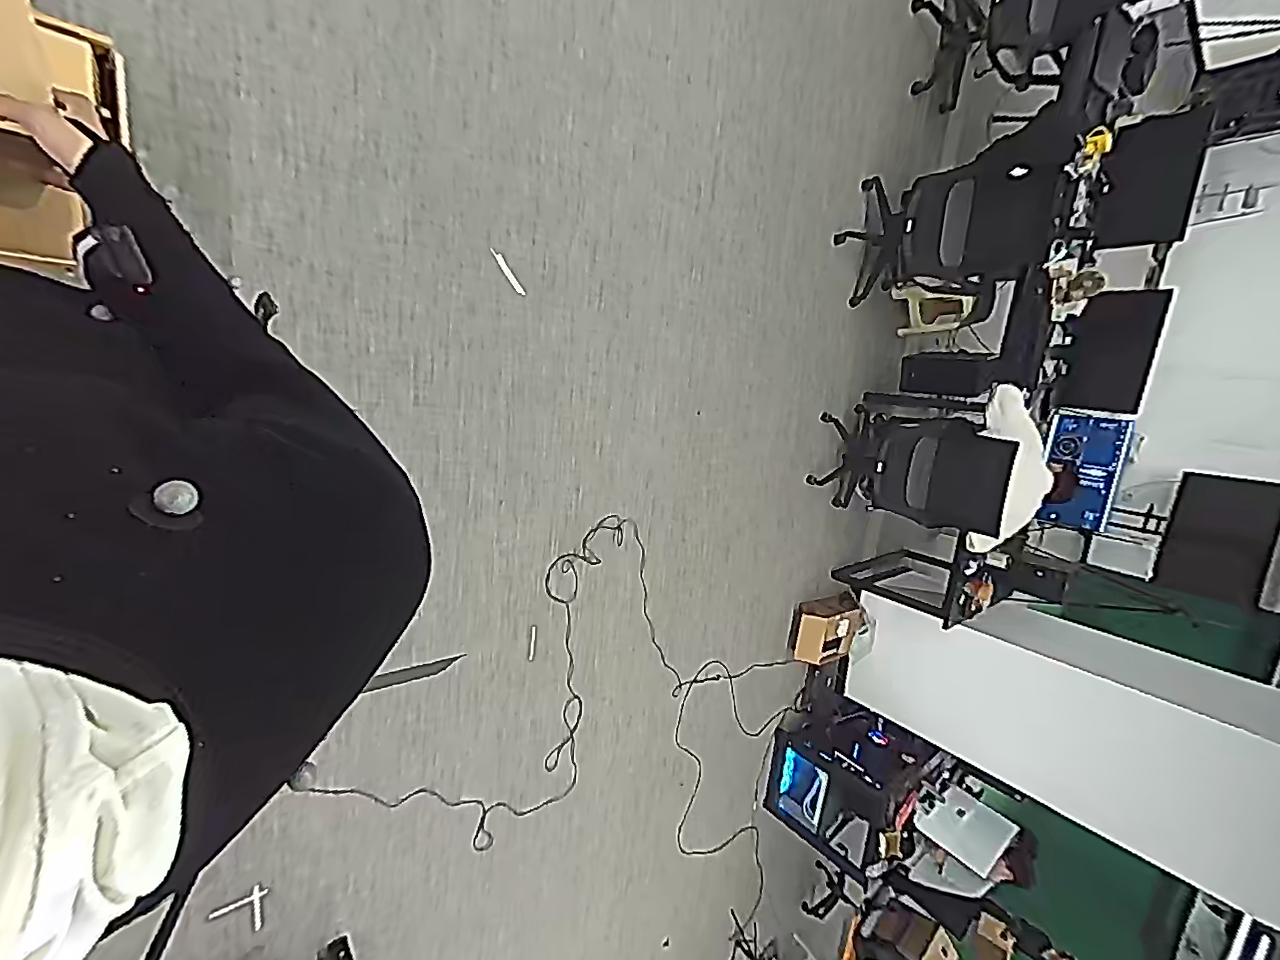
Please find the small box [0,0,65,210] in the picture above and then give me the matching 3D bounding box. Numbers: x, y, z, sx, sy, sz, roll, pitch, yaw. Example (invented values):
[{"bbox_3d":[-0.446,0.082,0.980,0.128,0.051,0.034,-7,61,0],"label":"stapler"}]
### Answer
[{"bbox_3d":[-0.659,-0.368,0.477,0.168,0.176,0.179,-18,99,-55],"label":"small box"}]
